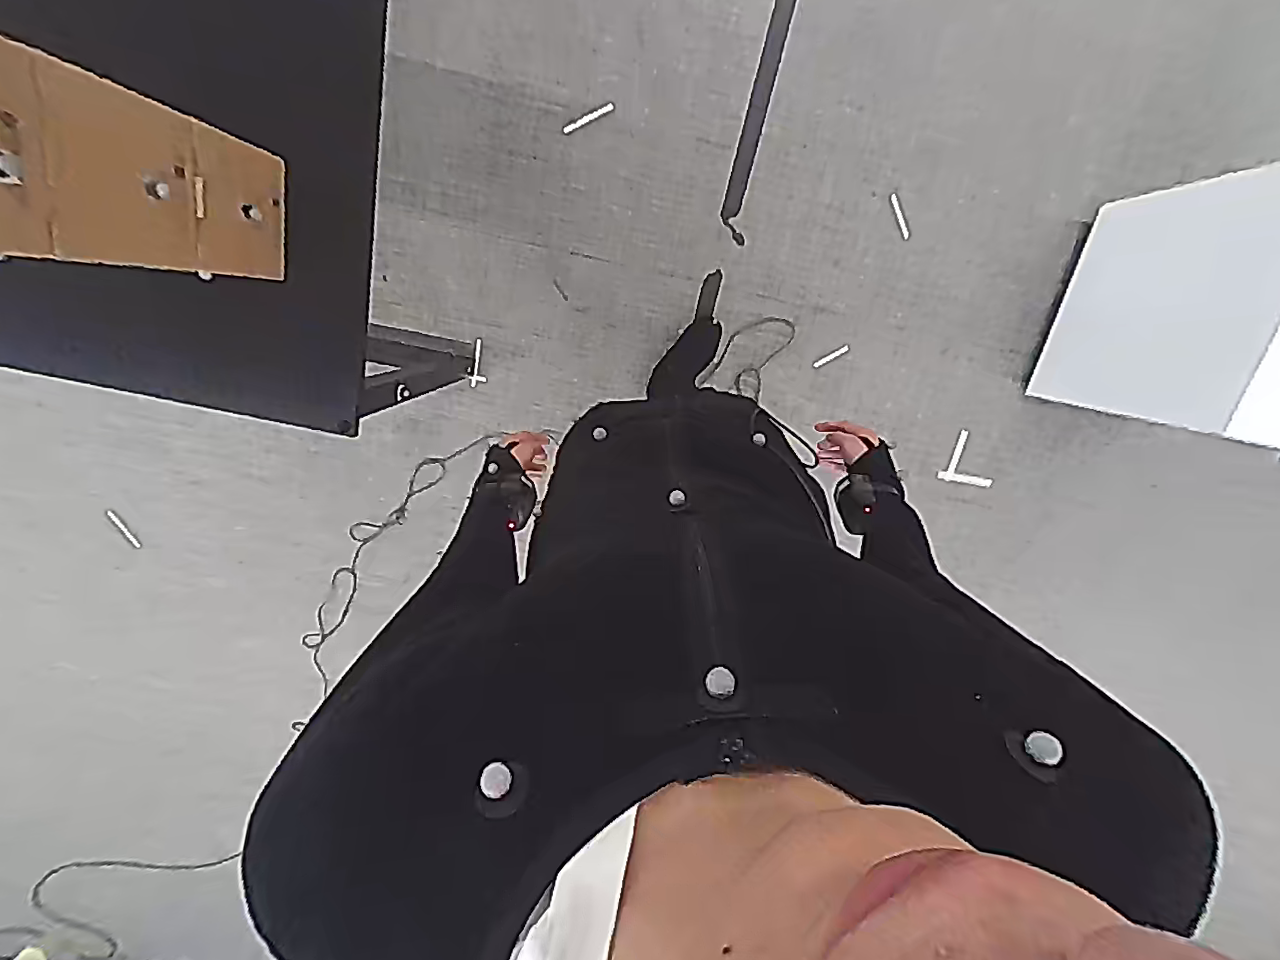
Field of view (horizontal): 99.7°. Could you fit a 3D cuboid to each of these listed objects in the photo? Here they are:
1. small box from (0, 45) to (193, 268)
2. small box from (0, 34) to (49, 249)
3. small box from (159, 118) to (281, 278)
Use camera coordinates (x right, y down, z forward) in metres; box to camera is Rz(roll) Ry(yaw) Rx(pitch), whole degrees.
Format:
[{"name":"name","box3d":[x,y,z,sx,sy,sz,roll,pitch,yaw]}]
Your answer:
[{"name":"small box","box3d":[-0.594,-0.314,0.532,0.179,0.176,0.168,11,107,-4]},{"name":"small box","box3d":[-0.592,-0.268,0.376,0.179,0.176,0.168,10,107,-4]},{"name":"small box","box3d":[-0.593,-0.360,0.690,0.179,0.176,0.168,10,106,-4]}]
